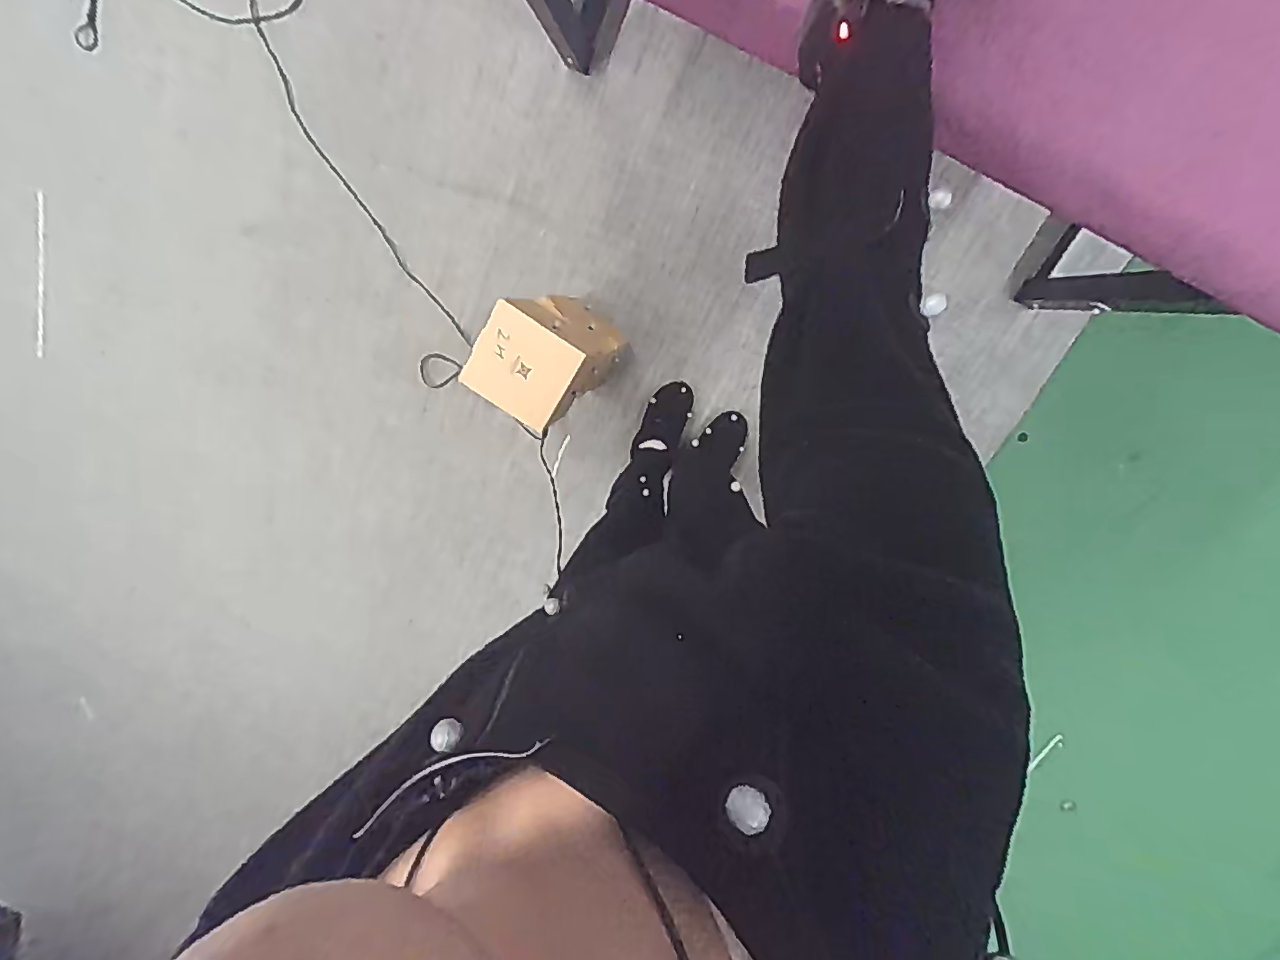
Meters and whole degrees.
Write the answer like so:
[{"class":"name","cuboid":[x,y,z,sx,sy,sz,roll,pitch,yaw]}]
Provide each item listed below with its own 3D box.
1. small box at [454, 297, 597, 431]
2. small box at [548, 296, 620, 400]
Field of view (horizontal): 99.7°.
[{"class":"small box","cuboid":[-0.200,-0.219,0.997,0.179,0.176,0.168,34,108,-4]},{"class":"small box","cuboid":[-0.162,-0.323,1.304,0.168,0.176,0.179,40,109,-7]}]
